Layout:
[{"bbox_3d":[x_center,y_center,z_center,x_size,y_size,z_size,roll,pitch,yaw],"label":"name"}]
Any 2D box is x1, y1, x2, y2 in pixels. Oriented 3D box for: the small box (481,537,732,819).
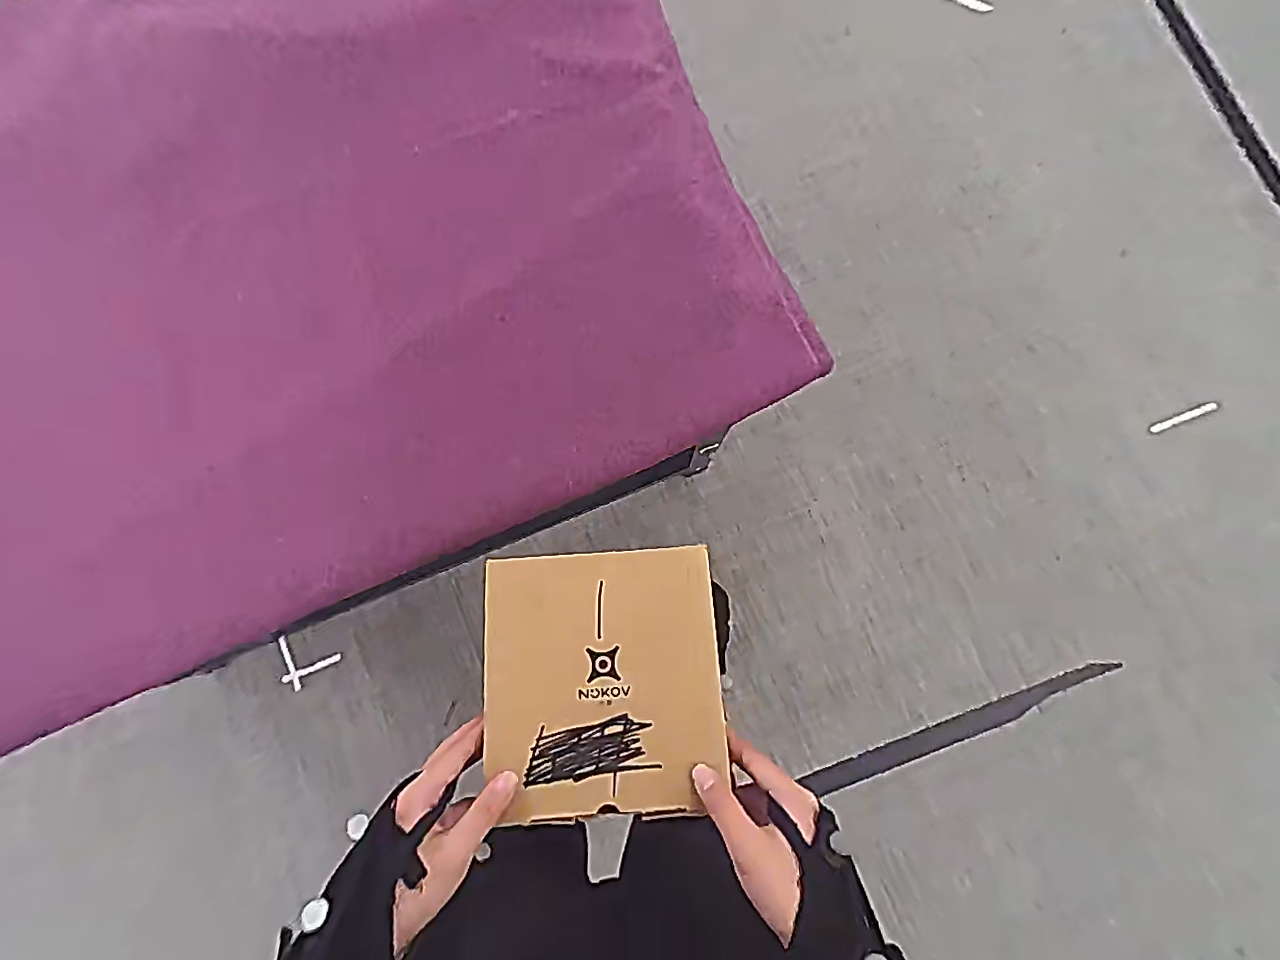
[{"bbox_3d":[-0.024,0.151,0.444,0.168,0.176,0.179,-4,73,0],"label":"small box"}]
